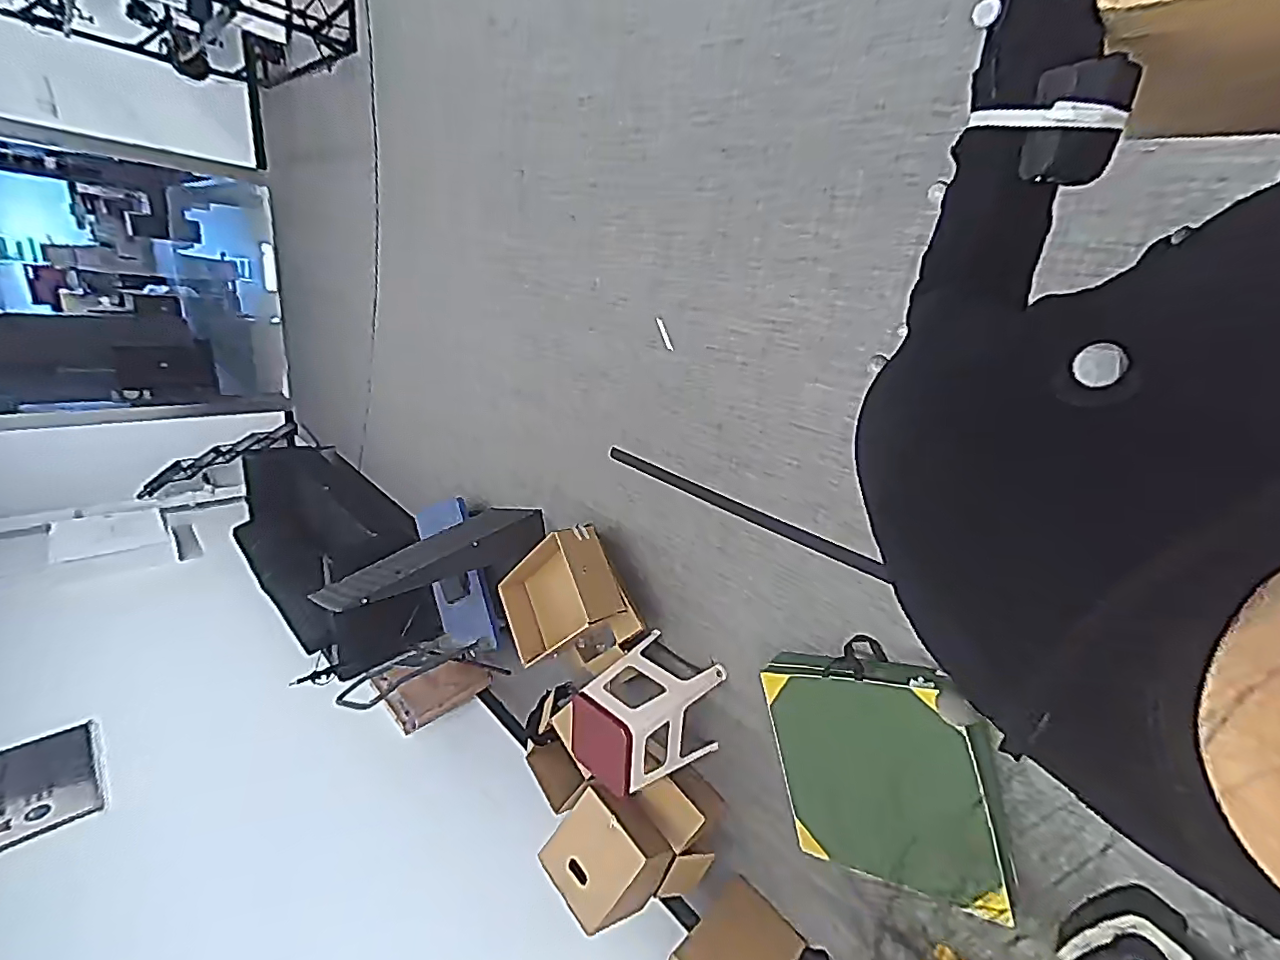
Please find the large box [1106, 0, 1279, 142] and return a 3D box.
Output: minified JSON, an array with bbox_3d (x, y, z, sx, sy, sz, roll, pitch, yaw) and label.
[{"bbox_3d":[0.534,-0.387,0.260,0.408,0.320,0.320,23,117,37],"label":"large box"}]
